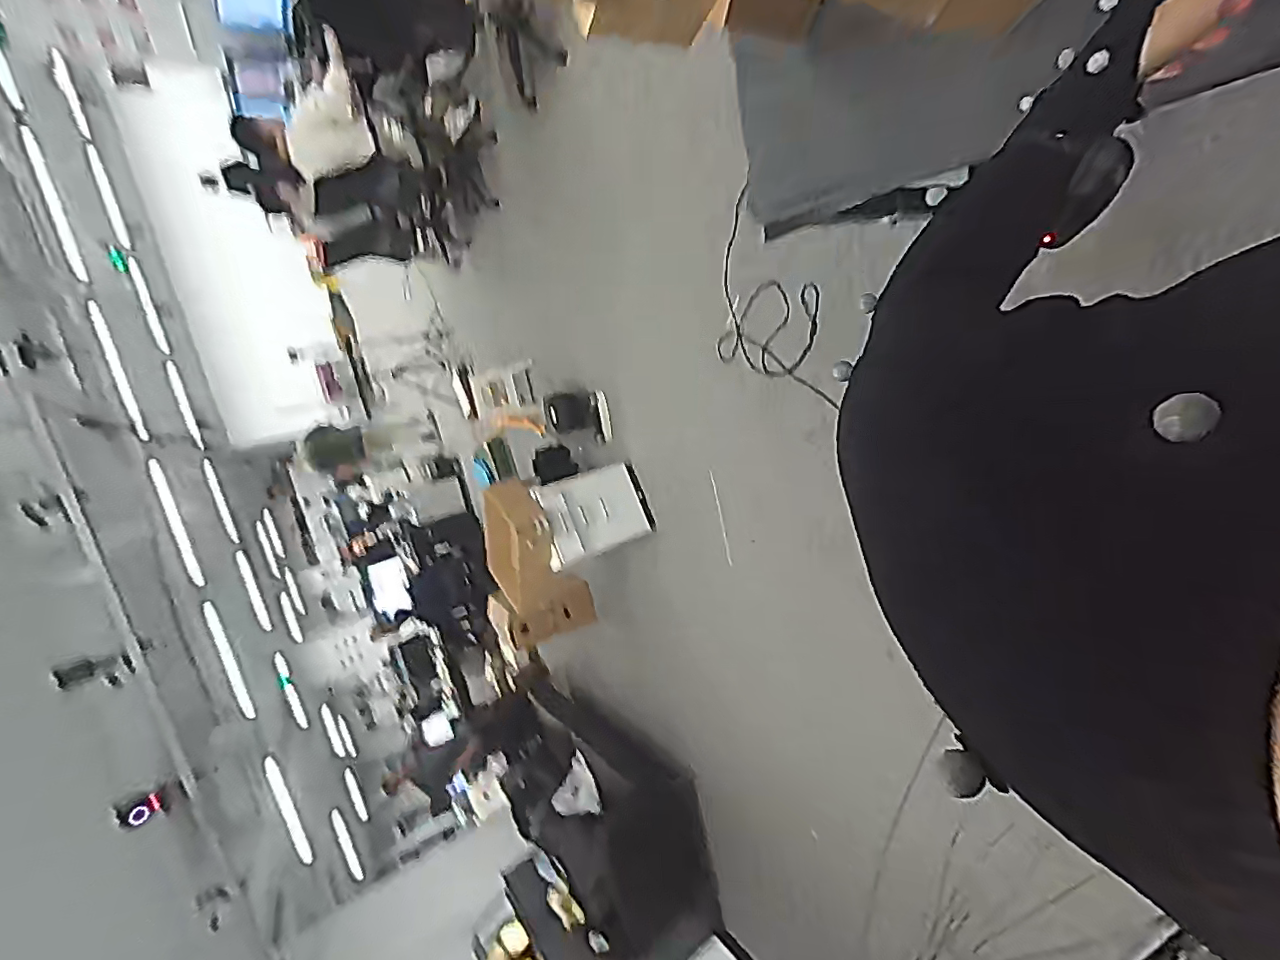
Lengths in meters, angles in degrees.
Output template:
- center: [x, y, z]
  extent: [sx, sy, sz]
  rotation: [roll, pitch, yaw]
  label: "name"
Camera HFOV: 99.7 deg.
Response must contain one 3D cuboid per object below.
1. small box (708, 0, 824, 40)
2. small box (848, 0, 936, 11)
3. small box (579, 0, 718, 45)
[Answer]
- center: [0.150, -0.723, 0.730]
  extent: [0.179, 0.176, 0.168]
  rotation: [51, 144, 31]
  label: "small box"
- center: [0.202, -0.519, 0.433]
  extent: [0.179, 0.176, 0.168]
  rotation: [61, 148, 20]
  label: "small box"
- center: [0.017, -0.674, 0.647]
  extent: [0.179, 0.176, 0.168]
  rotation: [-28, 82, 60]
  label: "small box"
